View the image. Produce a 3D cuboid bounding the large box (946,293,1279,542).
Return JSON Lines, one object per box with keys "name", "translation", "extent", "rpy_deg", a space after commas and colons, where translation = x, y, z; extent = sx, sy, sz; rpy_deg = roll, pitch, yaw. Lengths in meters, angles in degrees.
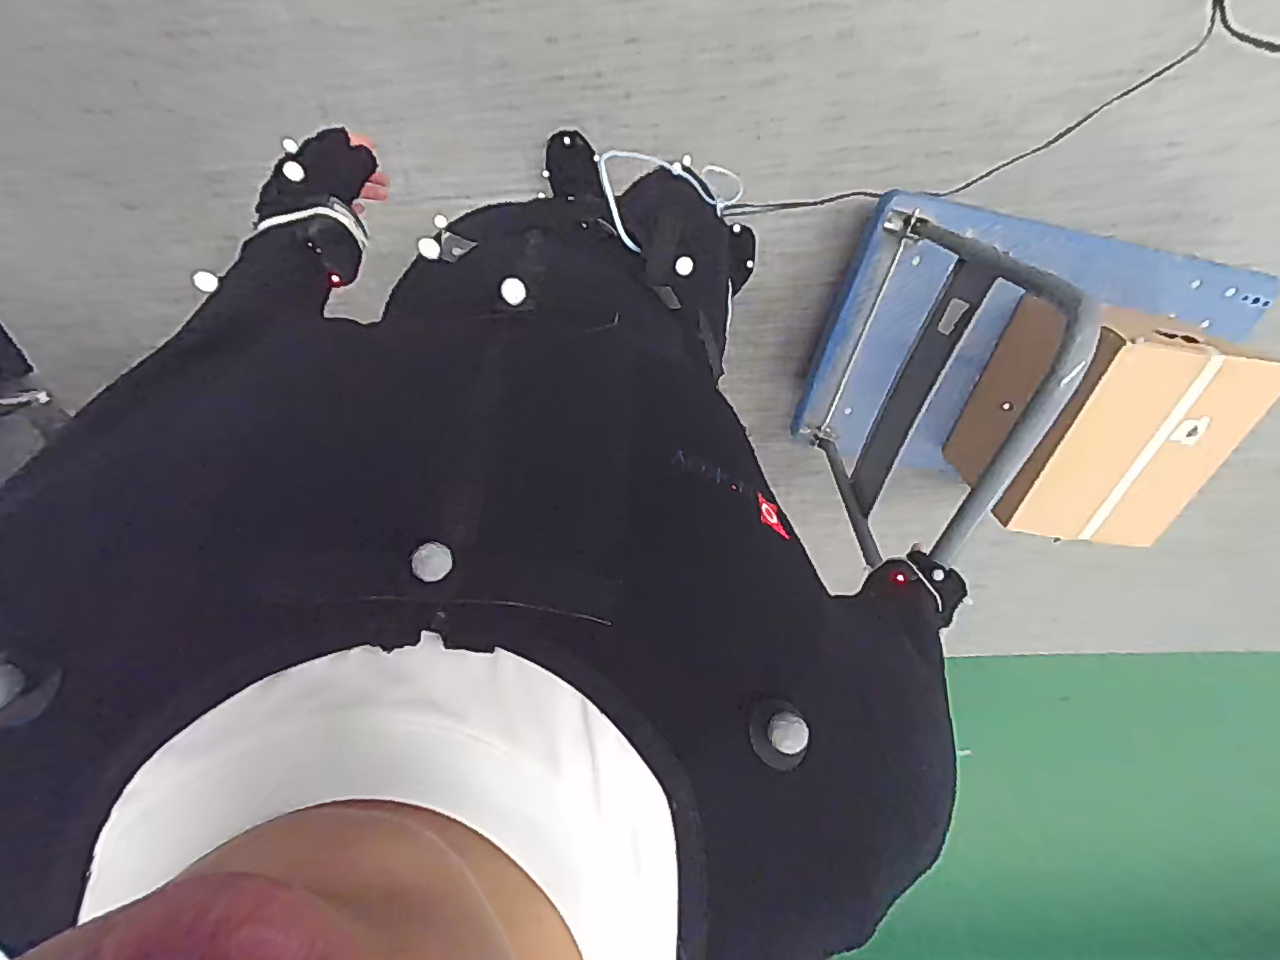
{"name": "large box", "translation": [0.923, -0.134, 1.128], "extent": [0.320, 0.320, 0.408], "rpy_deg": [7, 123, -2]}
